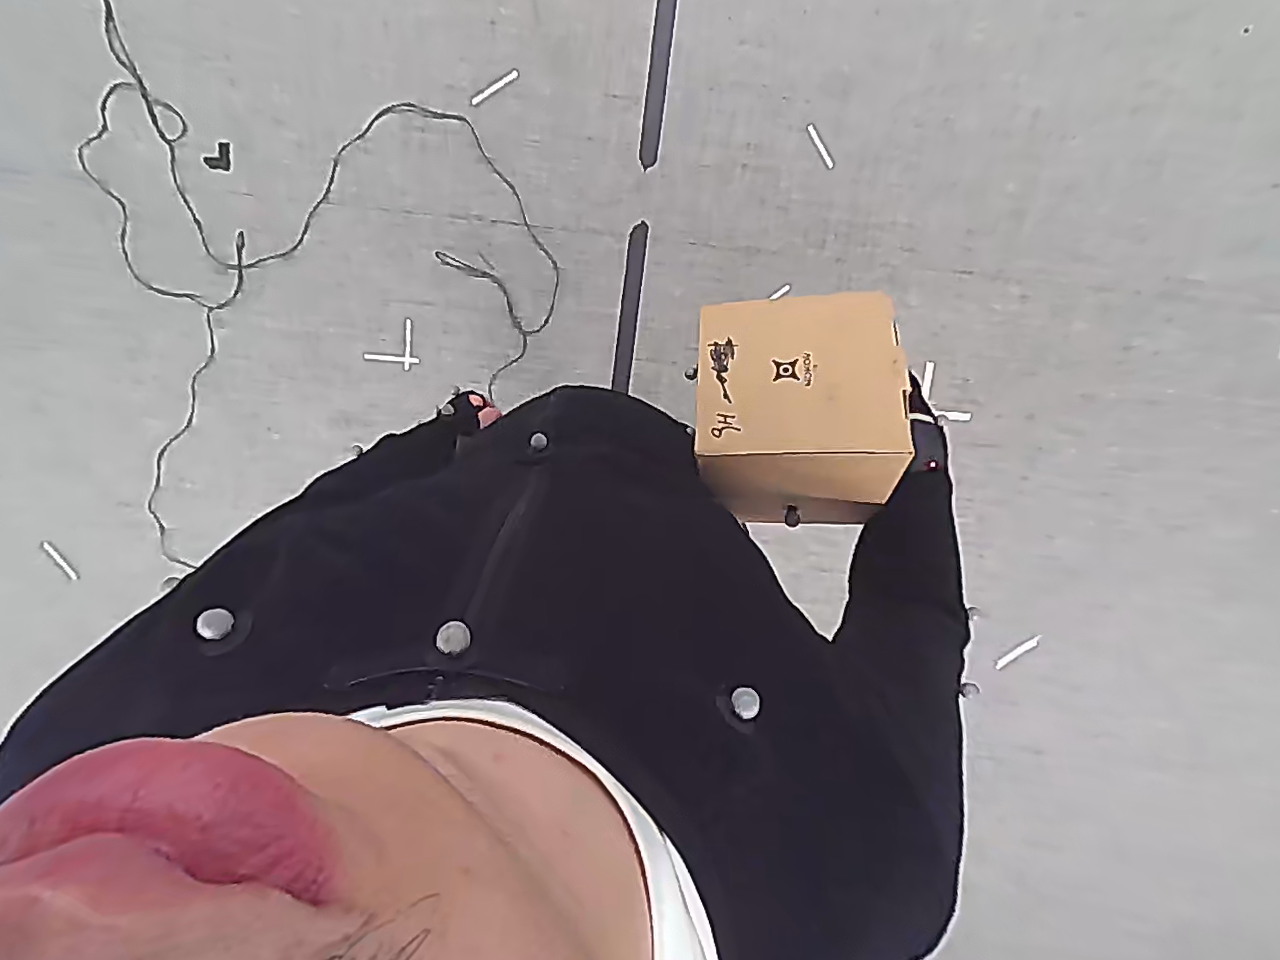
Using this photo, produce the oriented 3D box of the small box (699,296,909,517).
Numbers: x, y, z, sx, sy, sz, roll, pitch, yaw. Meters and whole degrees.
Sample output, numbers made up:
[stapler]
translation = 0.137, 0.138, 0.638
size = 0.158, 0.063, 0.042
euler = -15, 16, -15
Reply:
[small box]
translation = 0.157, -0.067, 0.562
size = 0.179, 0.176, 0.168
euler = 0, 65, 11
